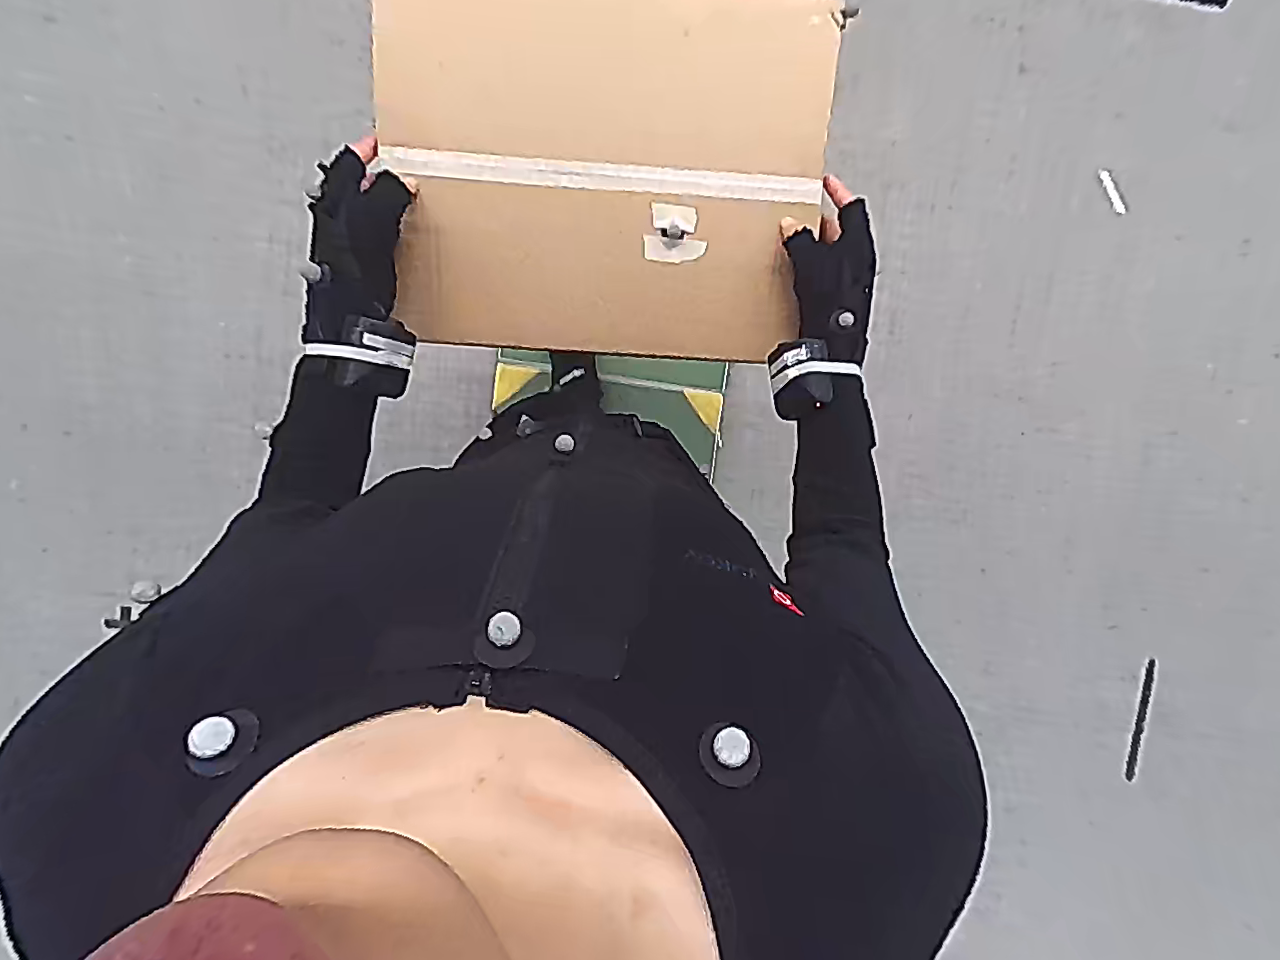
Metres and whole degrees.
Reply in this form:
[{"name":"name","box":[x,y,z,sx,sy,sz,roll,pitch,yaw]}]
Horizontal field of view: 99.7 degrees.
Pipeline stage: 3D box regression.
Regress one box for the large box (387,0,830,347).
[{"name":"large box","box":[-0.039,-0.330,0.656,0.408,0.320,0.320,2,104,-4]}]
